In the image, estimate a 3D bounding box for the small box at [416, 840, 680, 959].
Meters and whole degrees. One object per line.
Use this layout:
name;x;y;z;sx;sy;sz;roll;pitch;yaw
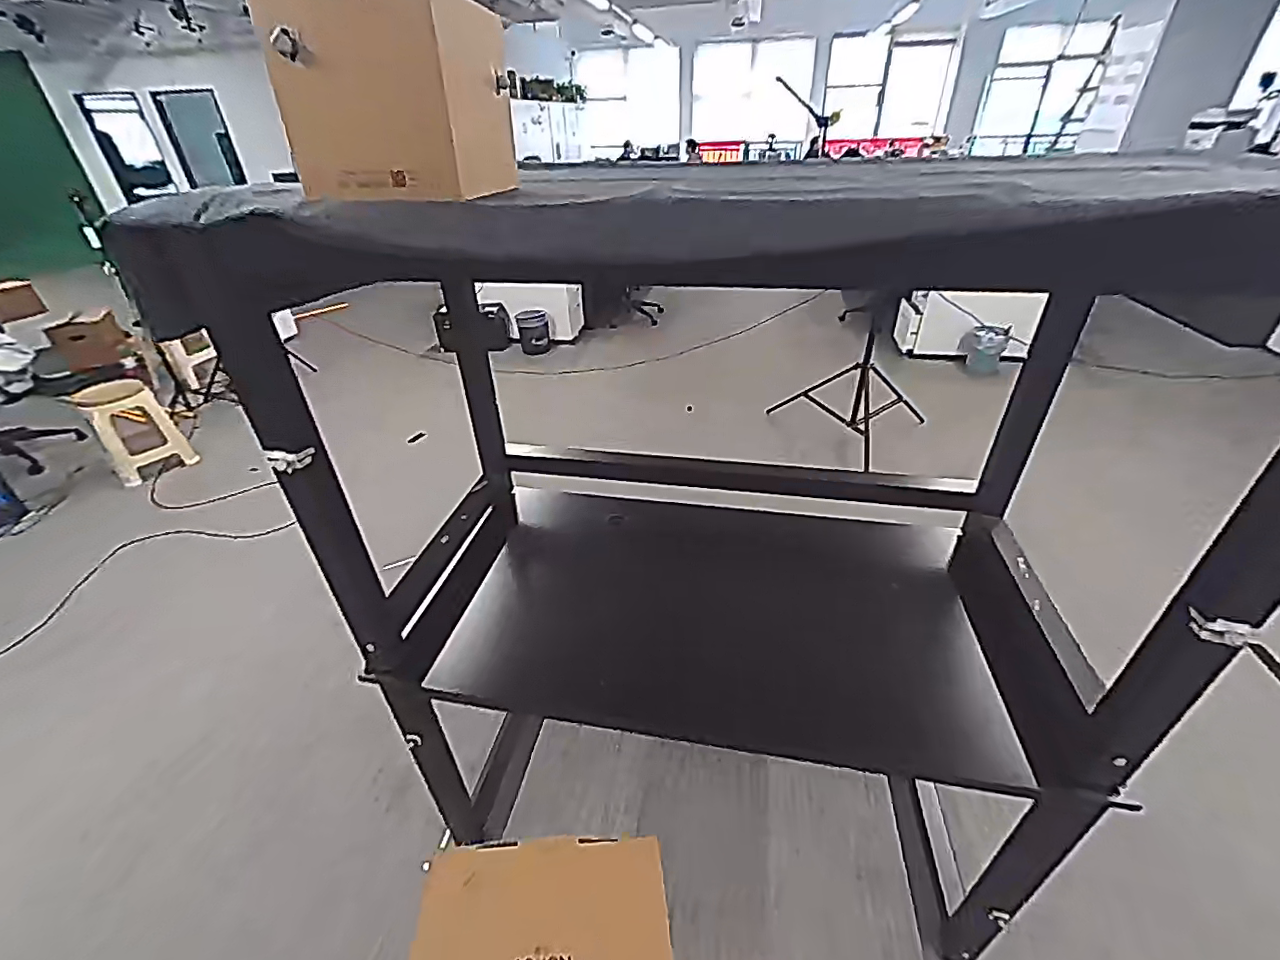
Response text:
small box;-0.061;0.375;0.354;0.168;0.176;0.179;1;29;-6
